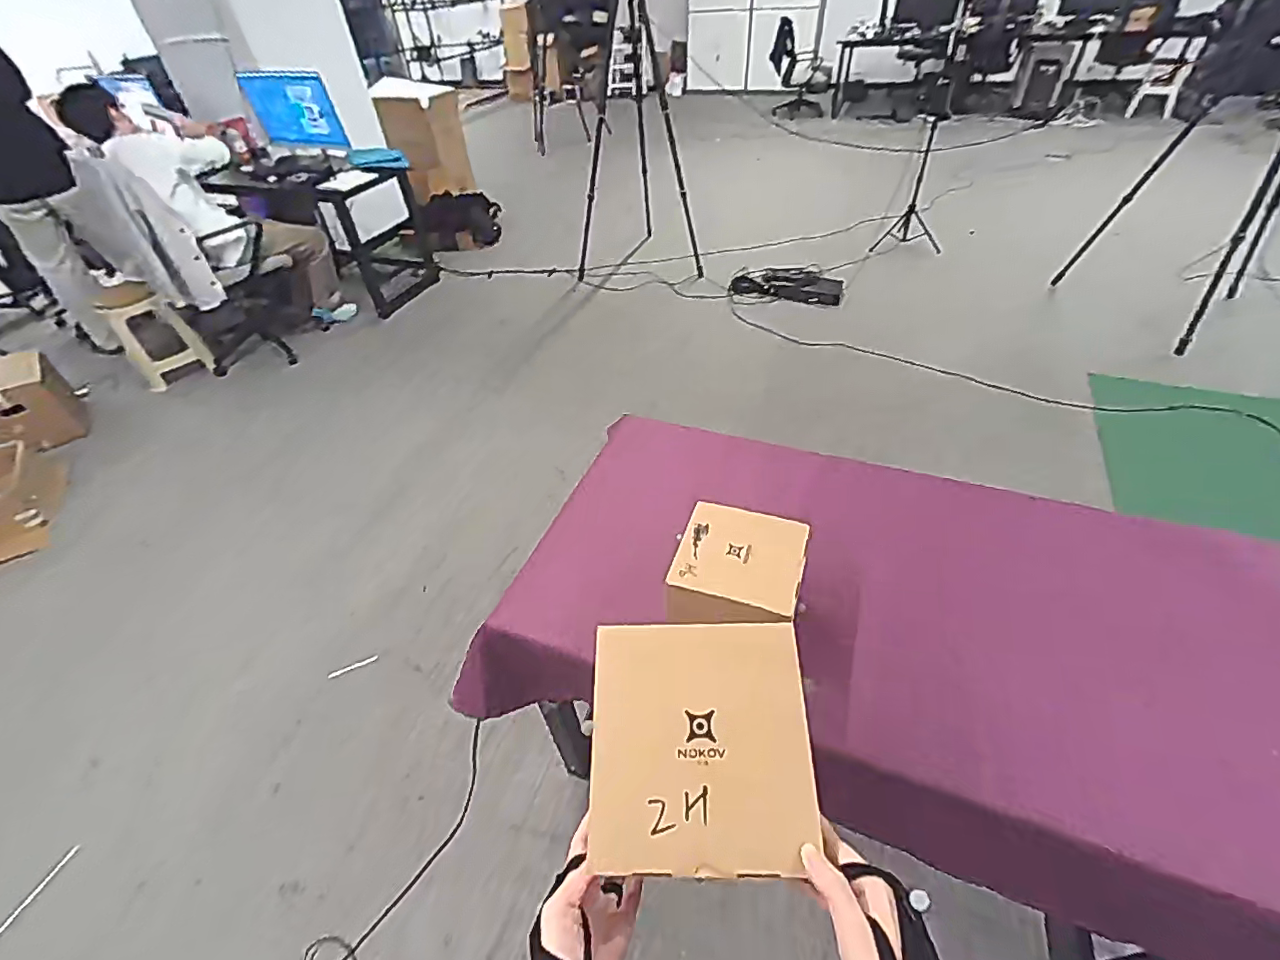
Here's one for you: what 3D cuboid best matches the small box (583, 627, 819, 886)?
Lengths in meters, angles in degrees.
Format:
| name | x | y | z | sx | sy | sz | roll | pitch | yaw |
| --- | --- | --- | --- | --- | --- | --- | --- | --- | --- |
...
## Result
| name | x | y | z | sx | sy | sz | roll | pitch | yaw |
| --- | --- | --- | --- | --- | --- | --- | --- | --- | --- |
| small box | 0.047 | 0.239 | 0.481 | 0.168 | 0.176 | 0.179 | -2 | 61 | 4 |

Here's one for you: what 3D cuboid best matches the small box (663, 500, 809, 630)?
| name | x | y | z | sx | sy | sz | roll | pitch | yaw |
| --- | --- | --- | --- | --- | --- | --- | --- | --- | --- |
| small box | 0.143 | 0.161 | 0.825 | 0.179 | 0.176 | 0.168 | 13 | 46 | 16 |
